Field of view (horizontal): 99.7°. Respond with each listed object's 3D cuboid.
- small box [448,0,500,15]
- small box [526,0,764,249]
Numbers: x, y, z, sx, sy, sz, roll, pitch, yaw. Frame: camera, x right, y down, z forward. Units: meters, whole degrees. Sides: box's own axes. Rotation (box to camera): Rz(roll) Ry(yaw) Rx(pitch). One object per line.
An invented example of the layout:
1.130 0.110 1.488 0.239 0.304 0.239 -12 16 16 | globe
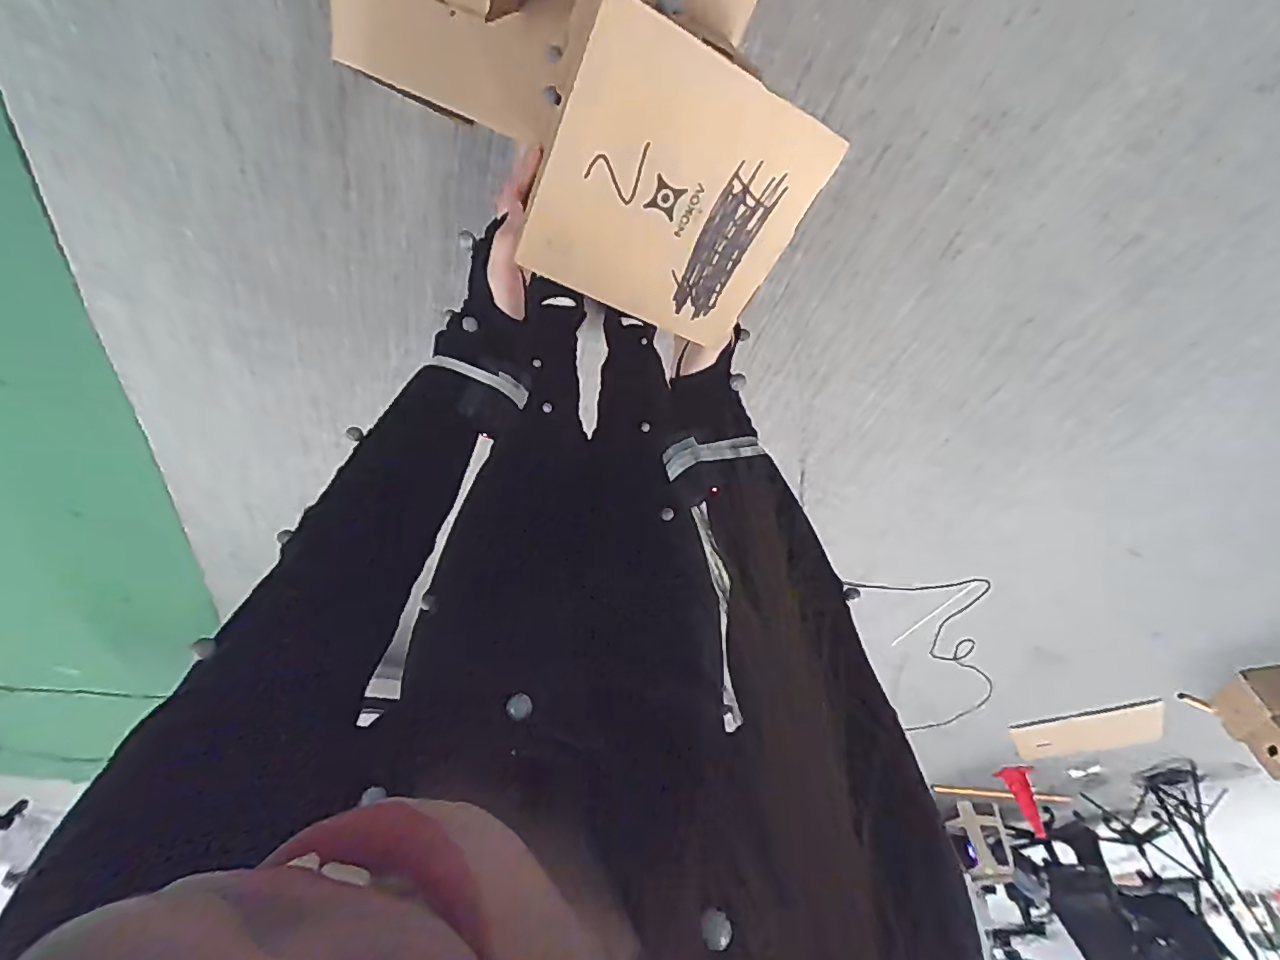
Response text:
-0.166 -0.507 0.415 0.168 0.176 0.179 16 131 -16 | small box
-0.005 -0.377 0.545 0.168 0.176 0.179 17 131 -18 | small box
